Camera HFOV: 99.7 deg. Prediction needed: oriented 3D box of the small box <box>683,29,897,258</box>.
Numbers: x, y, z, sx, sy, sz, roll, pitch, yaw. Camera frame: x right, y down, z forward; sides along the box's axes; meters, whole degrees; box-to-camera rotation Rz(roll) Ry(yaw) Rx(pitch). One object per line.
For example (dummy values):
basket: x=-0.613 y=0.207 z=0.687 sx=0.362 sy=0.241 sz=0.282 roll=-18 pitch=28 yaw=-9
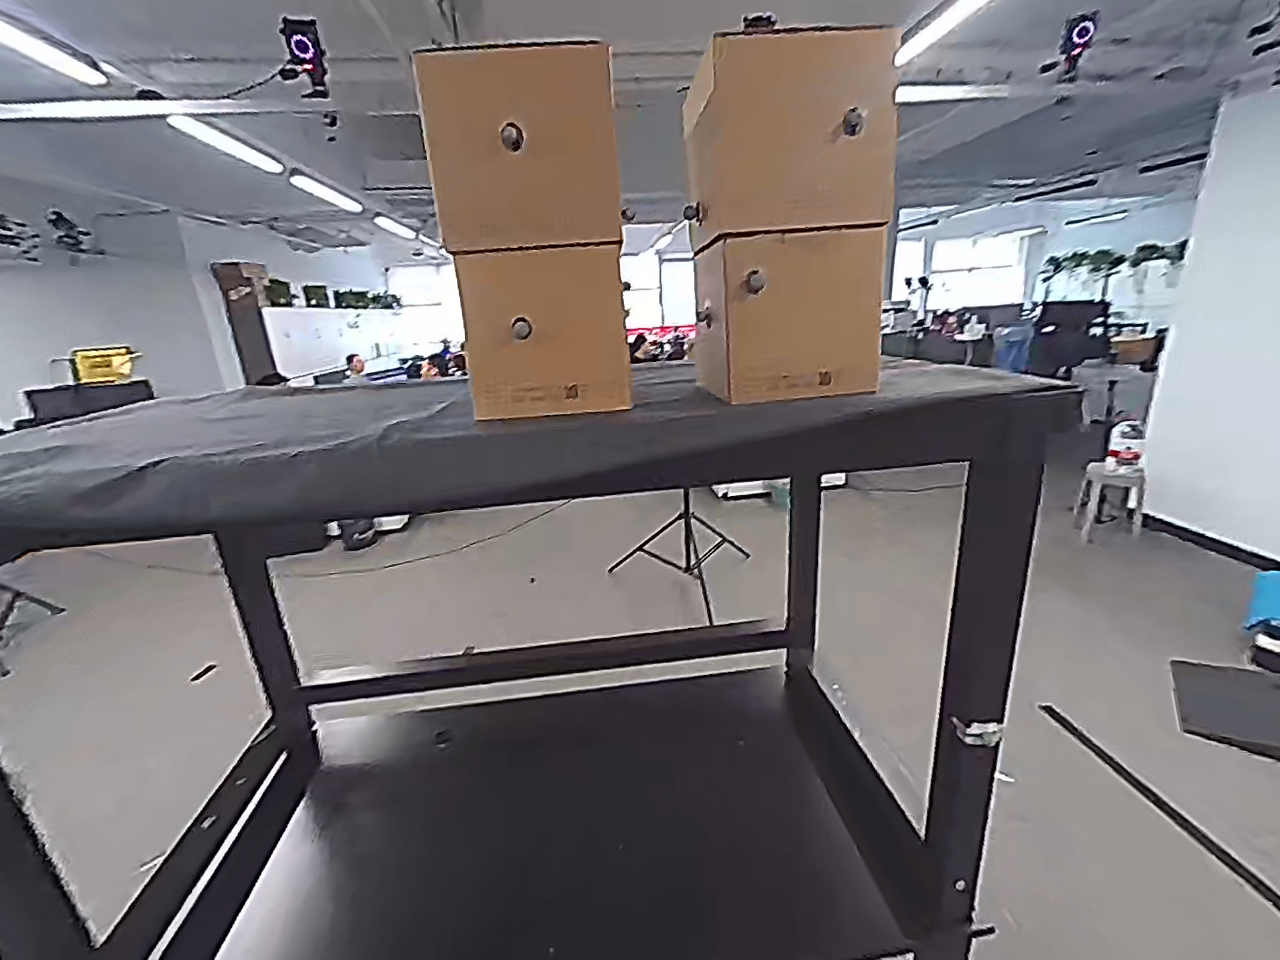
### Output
small box: x=0.147 y=-0.340 z=0.580 sx=0.179 sy=0.176 sz=0.168 roll=-6 pitch=15 yaw=-4

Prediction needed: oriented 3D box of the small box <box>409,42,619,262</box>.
small box: x=-0.113 y=-0.319 z=0.571 sx=0.179 sy=0.176 sz=0.168 roll=-6 pitch=15 yaw=-2

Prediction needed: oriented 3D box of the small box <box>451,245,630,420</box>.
small box: x=-0.101 y=-0.164 z=0.626 sx=0.168 sy=0.176 sz=0.179 roll=-4 pitch=16 yaw=-2
